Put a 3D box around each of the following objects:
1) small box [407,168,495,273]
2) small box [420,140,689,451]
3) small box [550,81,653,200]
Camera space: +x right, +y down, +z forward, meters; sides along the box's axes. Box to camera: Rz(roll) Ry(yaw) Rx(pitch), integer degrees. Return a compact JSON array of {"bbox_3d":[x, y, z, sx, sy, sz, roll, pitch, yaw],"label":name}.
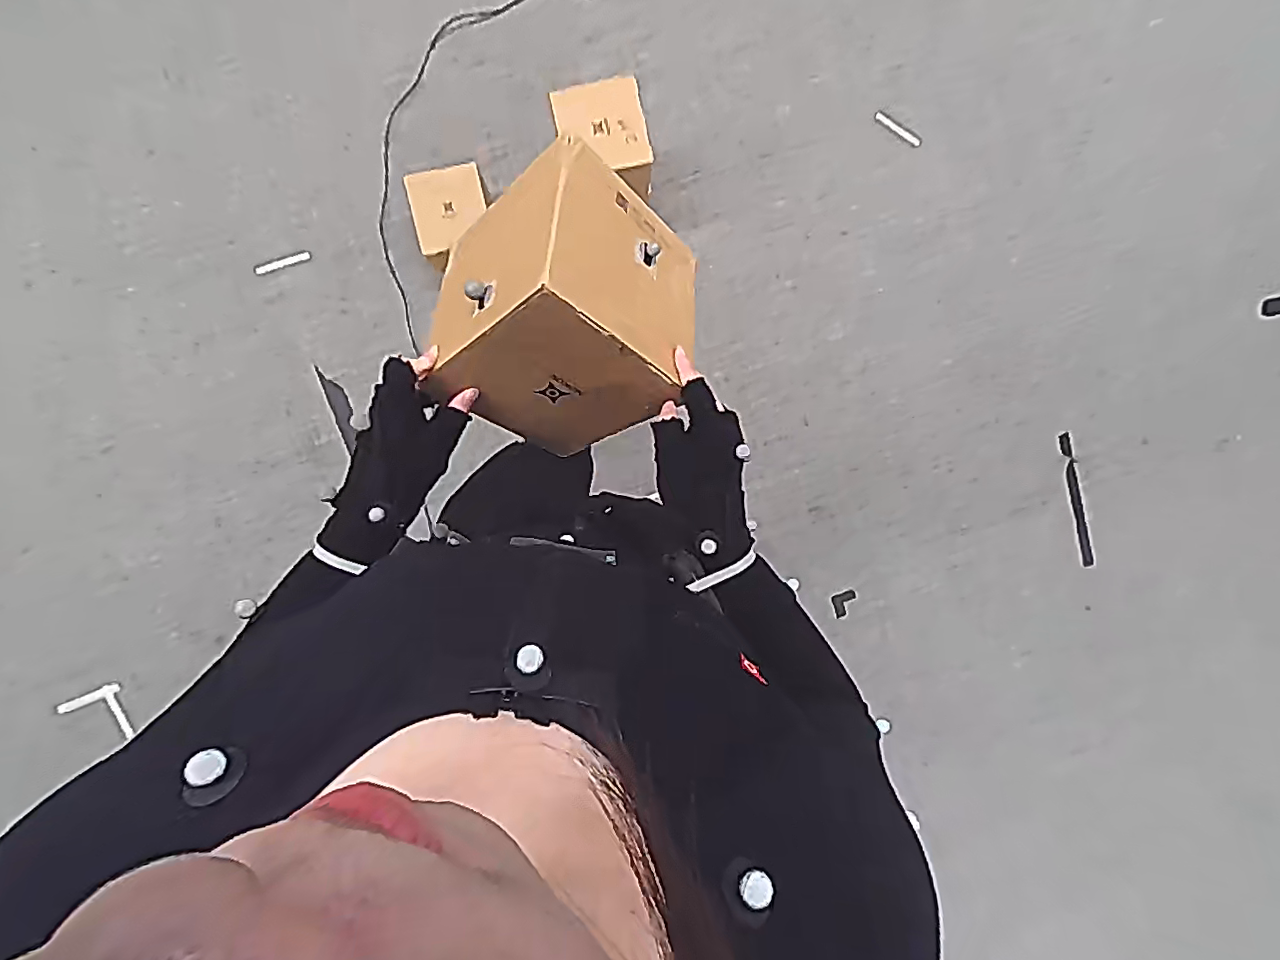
[{"bbox_3d":[-0.427,-0.608,1.295,0.168,0.176,0.179,-12,97,-2],"label":"small box"},{"bbox_3d":[-0.068,-0.154,0.497,0.168,0.179,0.176,28,54,-42],"label":"small box"},{"bbox_3d":[-0.079,-0.688,1.138,0.179,0.176,0.168,-14,97,-2],"label":"small box"}]
